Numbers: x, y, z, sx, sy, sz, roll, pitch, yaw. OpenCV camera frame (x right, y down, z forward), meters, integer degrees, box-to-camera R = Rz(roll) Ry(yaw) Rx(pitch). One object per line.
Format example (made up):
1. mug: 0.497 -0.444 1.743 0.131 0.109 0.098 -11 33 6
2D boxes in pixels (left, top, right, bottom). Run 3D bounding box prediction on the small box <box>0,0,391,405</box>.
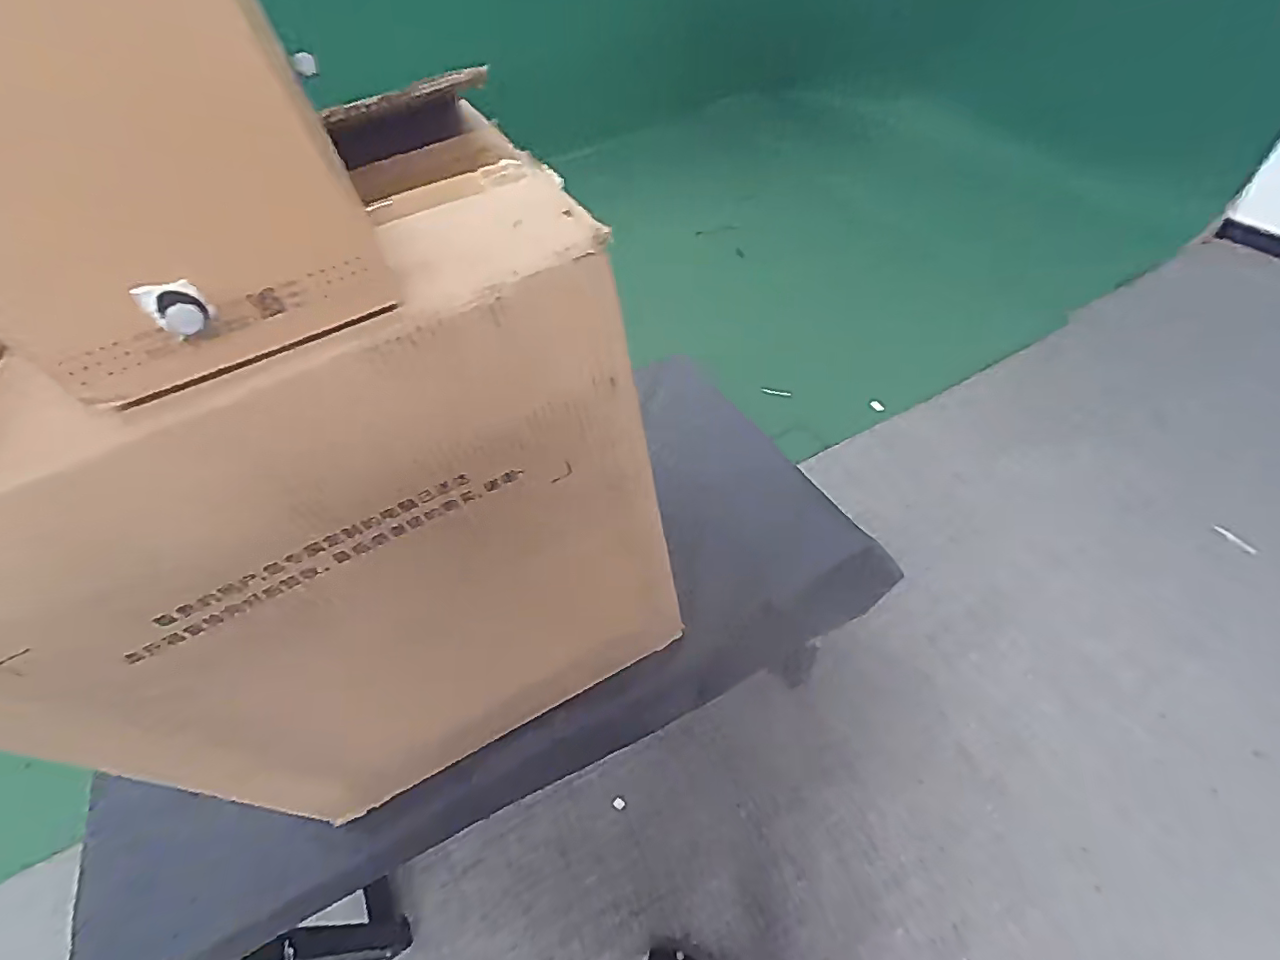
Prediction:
1. small box: -0.262 -0.172 0.288 0.168 0.176 0.179 -27 54 -10
